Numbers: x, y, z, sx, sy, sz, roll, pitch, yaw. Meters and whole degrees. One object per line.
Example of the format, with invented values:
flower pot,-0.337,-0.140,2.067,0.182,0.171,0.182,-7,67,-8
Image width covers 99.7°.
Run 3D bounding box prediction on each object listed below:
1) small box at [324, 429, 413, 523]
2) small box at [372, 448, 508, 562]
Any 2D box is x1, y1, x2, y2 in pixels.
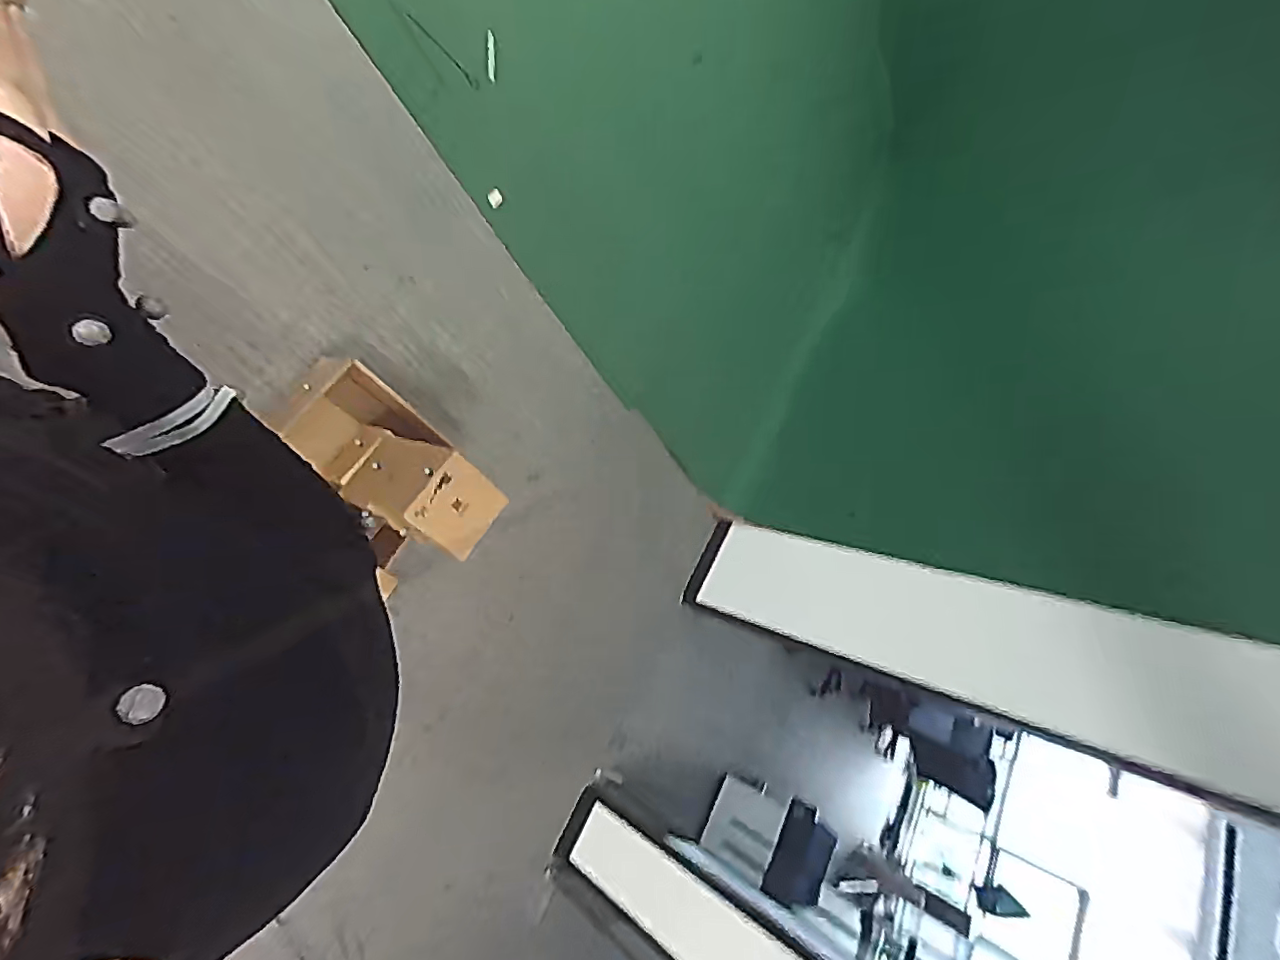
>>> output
small box,-0.664,-0.016,1.382,0.168,0.176,0.179,-55,134,-22
small box,-0.428,0.046,1.161,0.168,0.176,0.179,-57,135,-22
